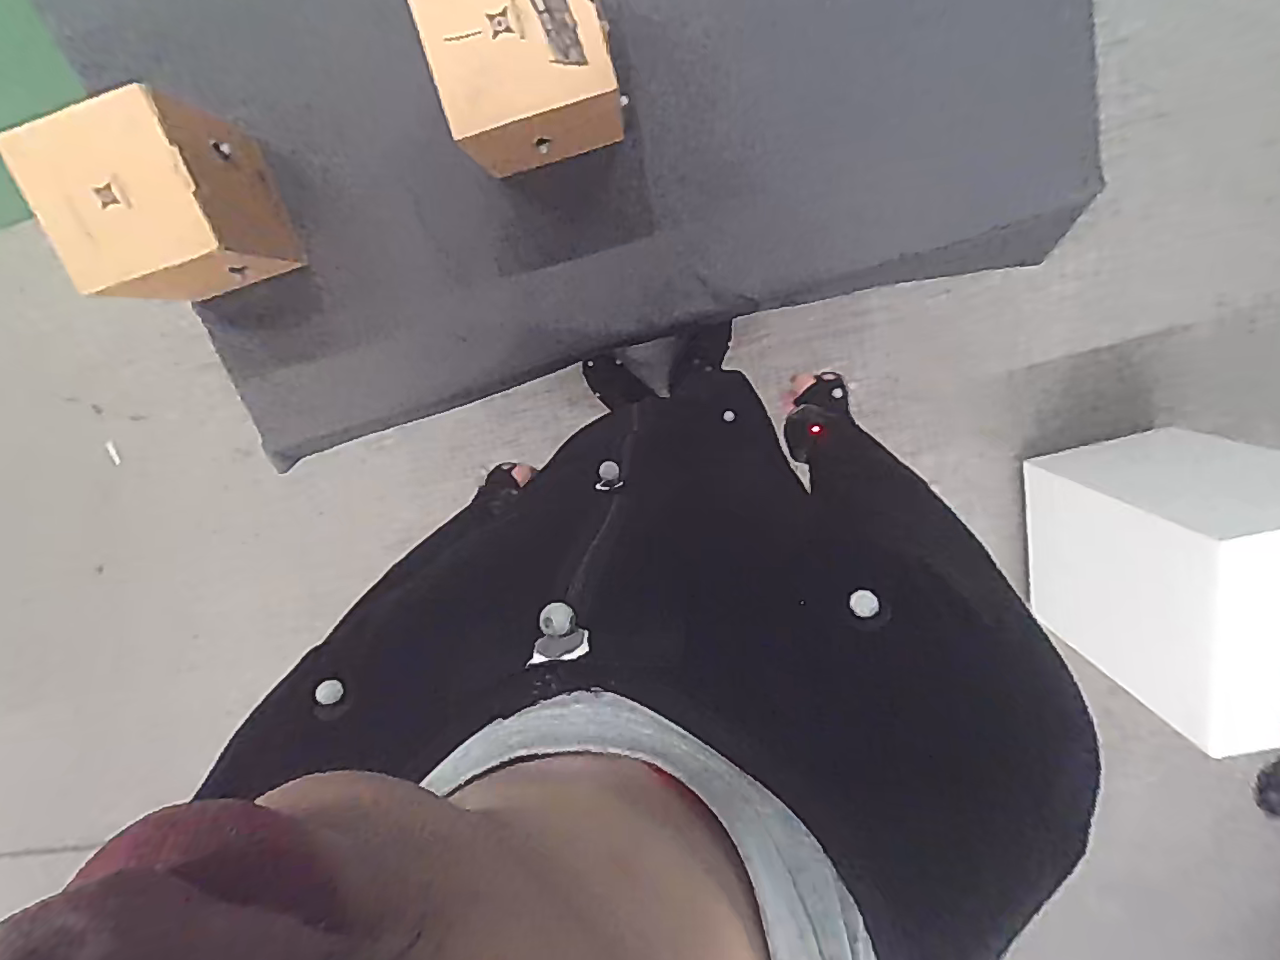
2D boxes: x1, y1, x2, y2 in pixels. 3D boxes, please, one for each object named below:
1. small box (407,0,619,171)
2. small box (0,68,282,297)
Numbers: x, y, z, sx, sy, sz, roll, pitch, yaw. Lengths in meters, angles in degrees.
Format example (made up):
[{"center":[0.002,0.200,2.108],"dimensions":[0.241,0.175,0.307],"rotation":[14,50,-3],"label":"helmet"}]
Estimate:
[{"center":[-0.126,-0.459,0.580],"dimensions":[0.179,0.176,0.168],"rotation":[-14,106,4],"label":"small box"},{"center":[-0.553,-0.317,0.616],"dimensions":[0.179,0.176,0.168],"rotation":[-16,105,5],"label":"small box"}]
